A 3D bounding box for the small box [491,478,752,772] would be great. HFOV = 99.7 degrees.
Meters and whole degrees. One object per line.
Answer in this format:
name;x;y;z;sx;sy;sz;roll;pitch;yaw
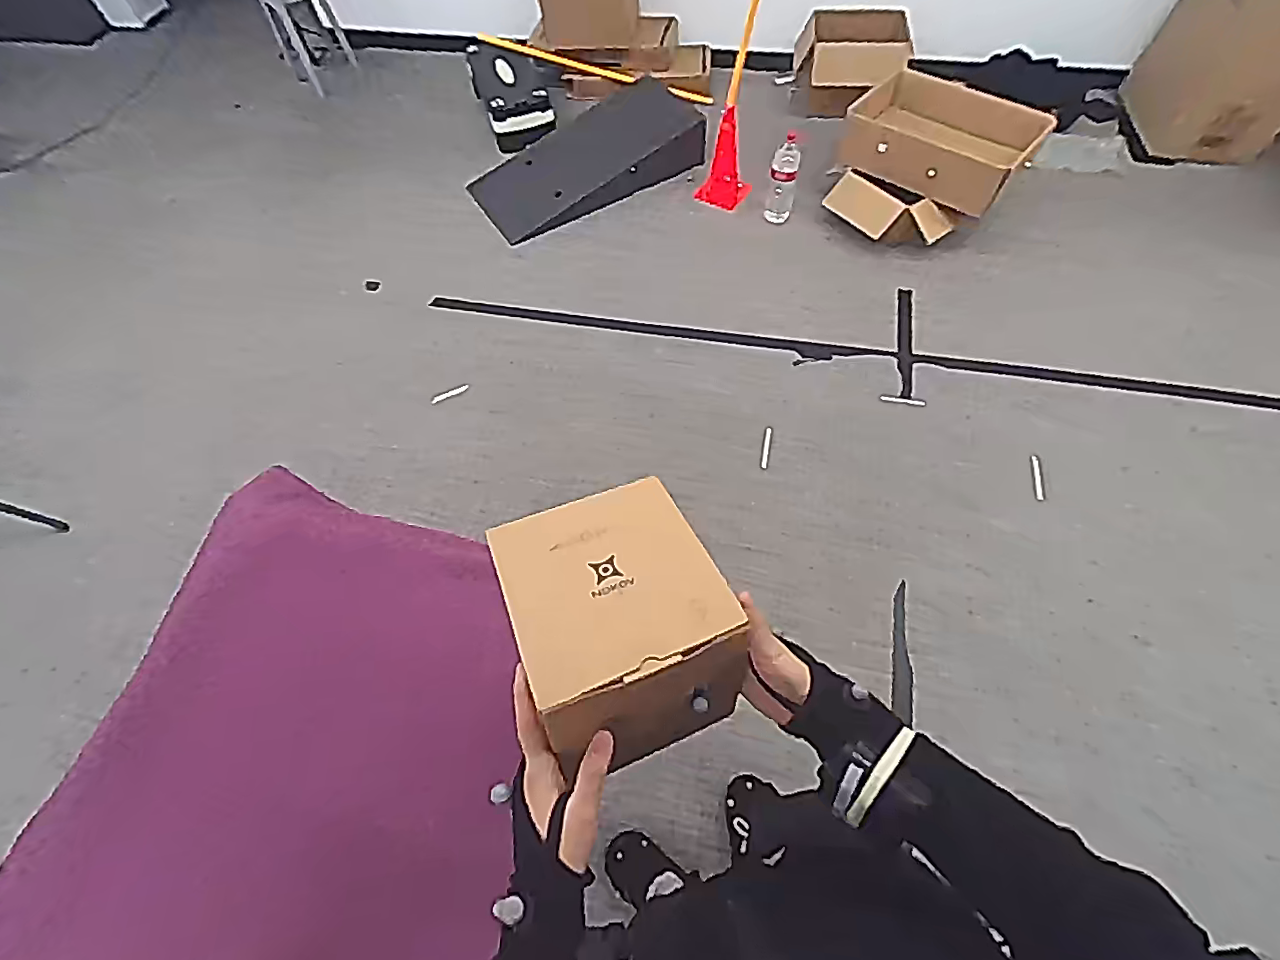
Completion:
small box;-0.019;0.133;0.486;0.168;0.176;0.179;-18;46;-16
